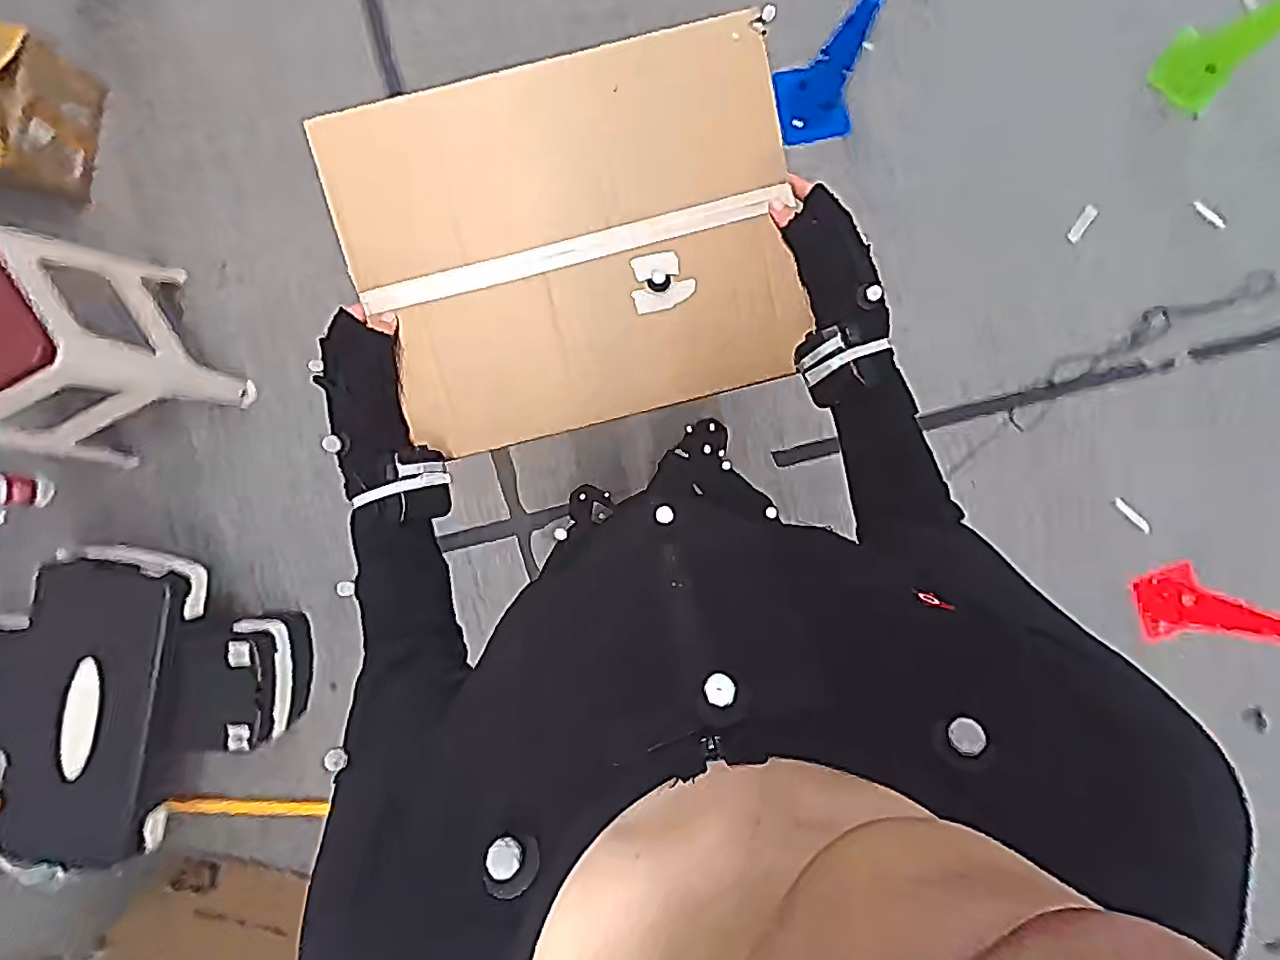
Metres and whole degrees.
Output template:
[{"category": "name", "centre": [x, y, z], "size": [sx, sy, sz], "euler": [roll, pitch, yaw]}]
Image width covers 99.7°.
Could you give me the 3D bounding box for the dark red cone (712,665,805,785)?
[{"category": "dark red cone", "centre": [0.318, 0.621, 1.329], "size": [0.202, 0.394, 0.201], "euler": [-9, 91, -4]}]

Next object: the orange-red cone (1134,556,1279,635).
[{"category": "orange-red cone", "centre": [1.585, 0.347, 1.436], "size": [0.199, 0.360, 0.198], "euler": [-18, 94, -5]}]

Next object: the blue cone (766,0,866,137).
[{"category": "blue cone", "centre": [0.463, -1.043, 1.323], "size": [0.193, 0.380, 0.192], "euler": [-12, 92, -4]}]

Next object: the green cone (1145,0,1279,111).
[{"category": "green cone", "centre": [1.584, -1.190, 1.382], "size": [0.202, 0.368, 0.200], "euler": [37, 88, -3]}]
